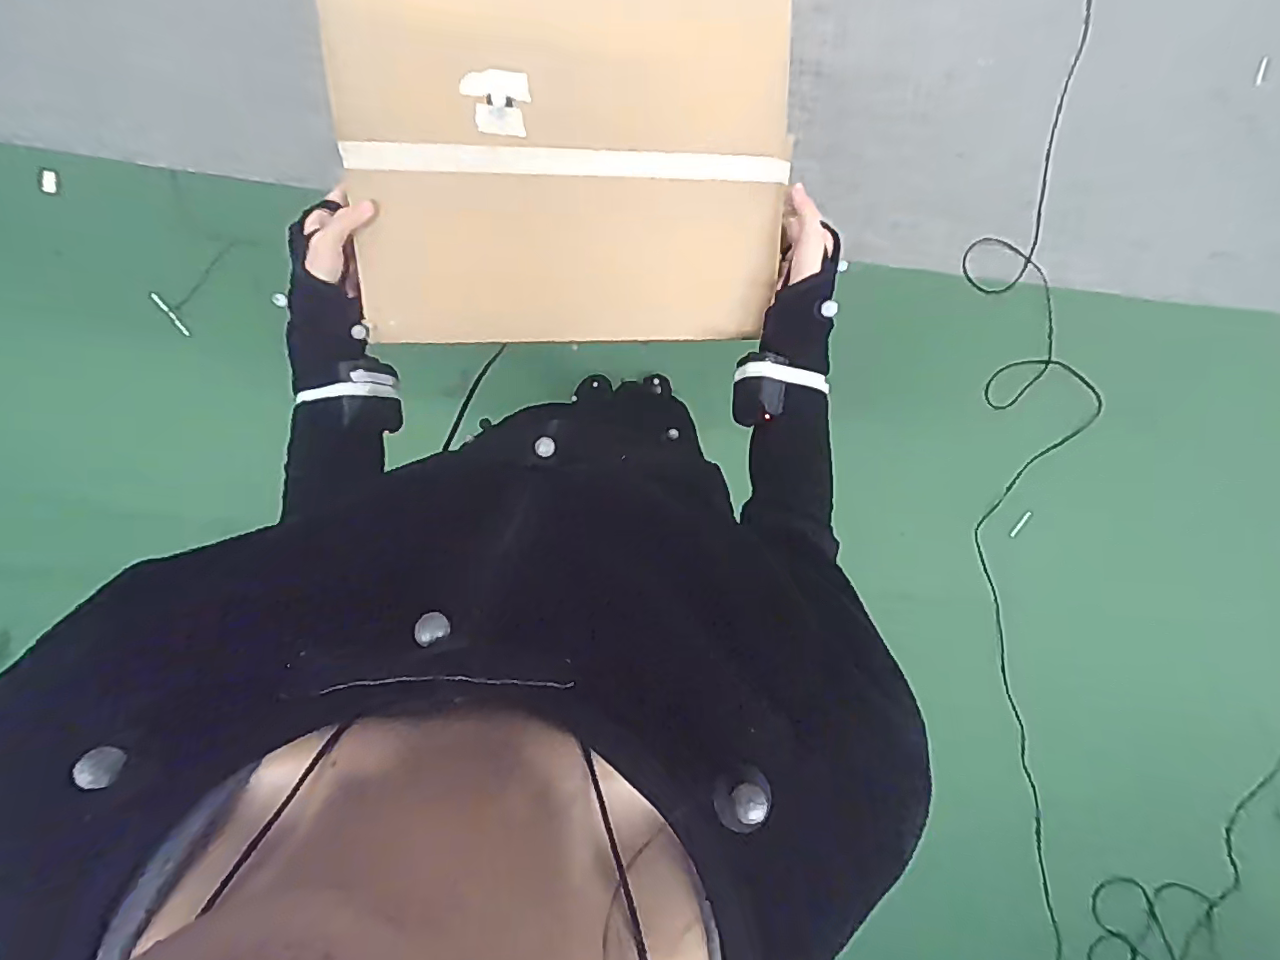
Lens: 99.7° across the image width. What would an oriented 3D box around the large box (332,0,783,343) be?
[{"bbox_3d":[-0.081,-0.336,0.656,0.408,0.320,0.320,-3,106,-9],"label":"large box"}]
